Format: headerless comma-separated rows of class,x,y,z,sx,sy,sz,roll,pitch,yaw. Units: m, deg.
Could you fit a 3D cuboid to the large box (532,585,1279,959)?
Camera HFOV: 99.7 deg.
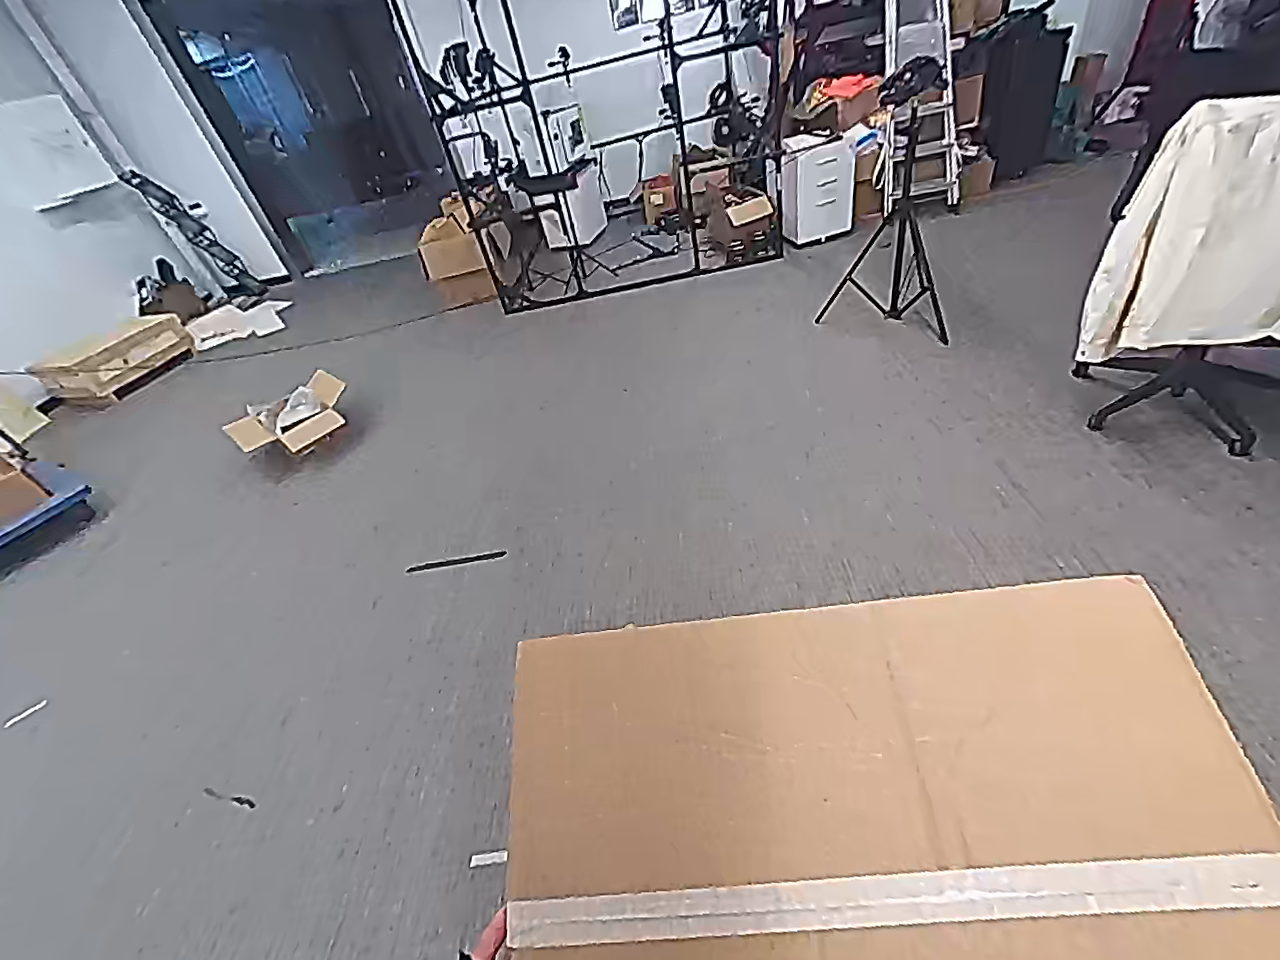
large box,0.155,0.300,0.419,0.408,0.320,0.320,-8,61,6
